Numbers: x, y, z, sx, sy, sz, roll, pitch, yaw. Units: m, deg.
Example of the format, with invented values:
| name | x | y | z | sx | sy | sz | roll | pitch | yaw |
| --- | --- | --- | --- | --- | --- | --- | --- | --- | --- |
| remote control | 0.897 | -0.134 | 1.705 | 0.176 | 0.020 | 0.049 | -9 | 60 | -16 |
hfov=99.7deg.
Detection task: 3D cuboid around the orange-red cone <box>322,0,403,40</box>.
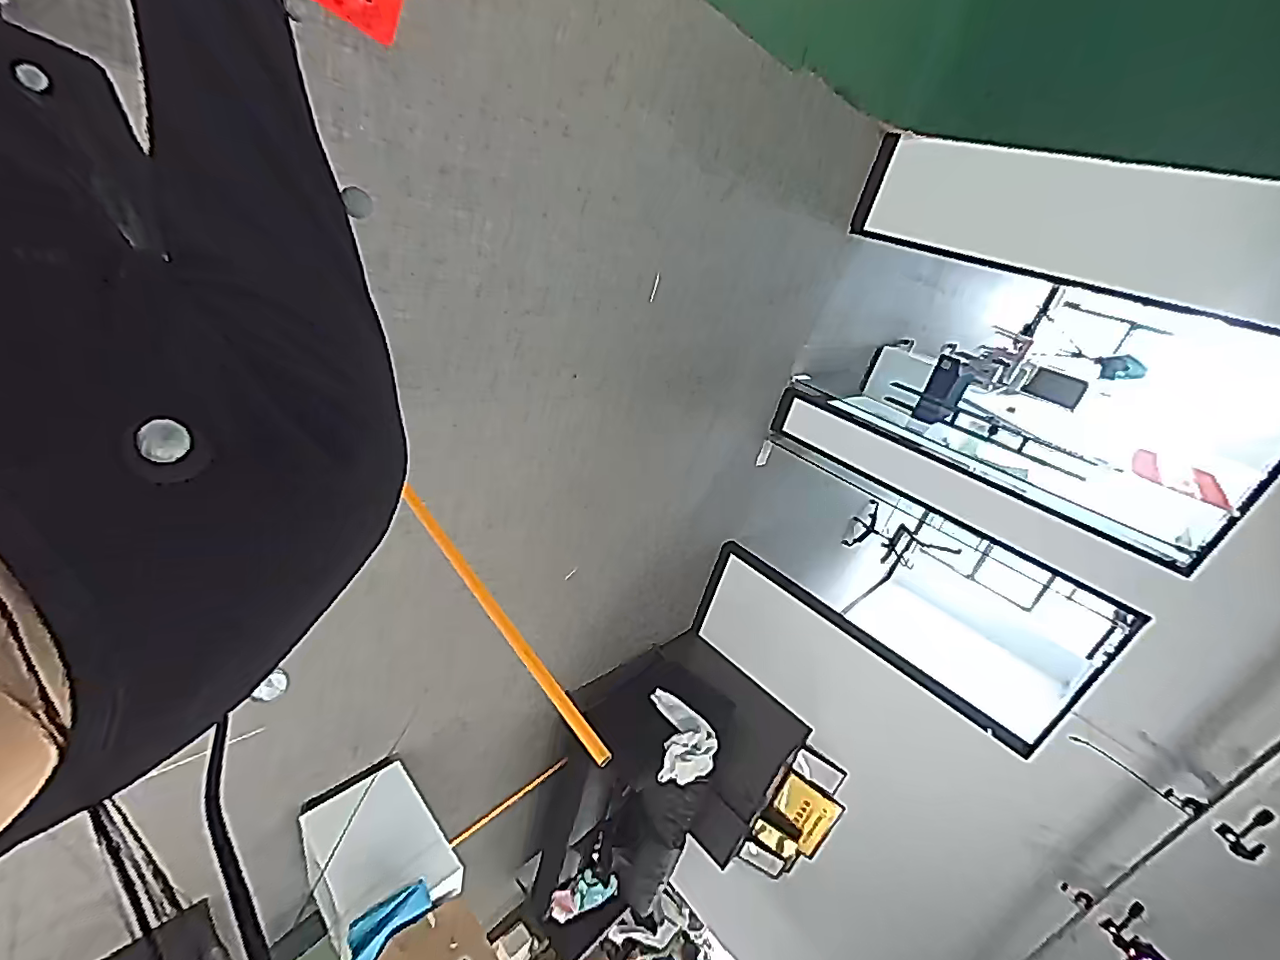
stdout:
| name | x | y | z | sx | sy | sz | roll | pitch | yaw |
| --- | --- | --- | --- | --- | --- | --- | --- | --- | --- |
| orange-red cone | -0.456 | -0.960 | 0.994 | 0.198 | 0.360 | 0.199 | 3 | 117 | -52 |
